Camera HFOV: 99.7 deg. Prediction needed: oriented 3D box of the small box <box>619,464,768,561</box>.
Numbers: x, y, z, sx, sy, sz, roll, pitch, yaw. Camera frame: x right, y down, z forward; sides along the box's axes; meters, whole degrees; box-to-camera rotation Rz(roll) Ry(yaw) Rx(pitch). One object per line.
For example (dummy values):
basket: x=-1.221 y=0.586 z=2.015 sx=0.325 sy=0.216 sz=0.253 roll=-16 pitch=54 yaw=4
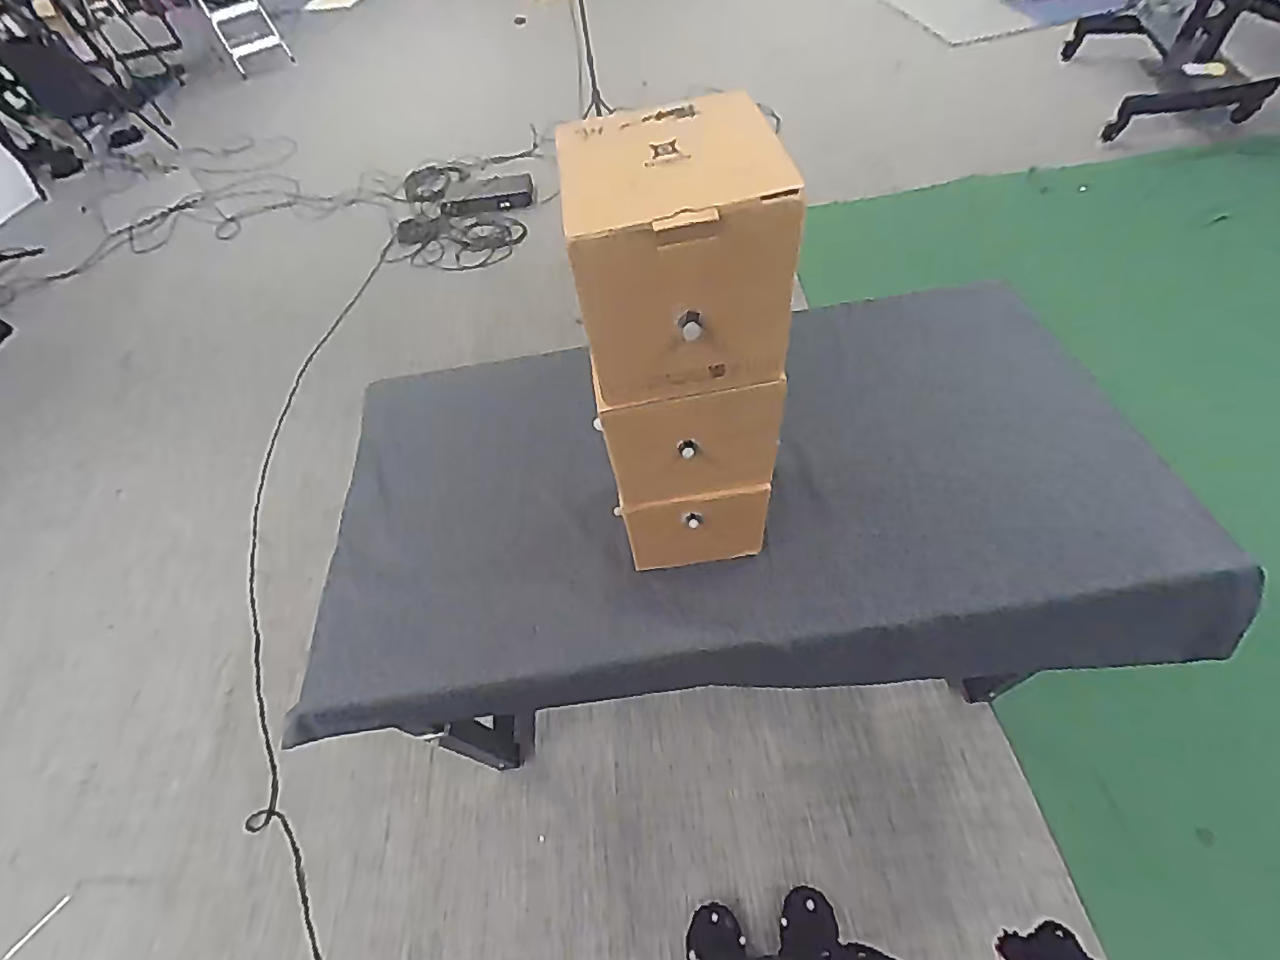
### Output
small box: x=0.064 y=-0.002 z=0.734 sx=0.179 sy=0.176 sz=0.168 roll=-8 pitch=56 yaw=1

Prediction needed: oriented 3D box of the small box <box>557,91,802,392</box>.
small box: x=0.029 y=-0.194 z=0.471 sx=0.168 sy=0.176 sz=0.179 roll=-9 pitch=57 yaw=2

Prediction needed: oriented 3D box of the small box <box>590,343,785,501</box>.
small box: x=0.046 y=-0.096 z=0.601 sx=0.179 sy=0.176 sz=0.168 roll=-10 pitch=56 yaw=2
